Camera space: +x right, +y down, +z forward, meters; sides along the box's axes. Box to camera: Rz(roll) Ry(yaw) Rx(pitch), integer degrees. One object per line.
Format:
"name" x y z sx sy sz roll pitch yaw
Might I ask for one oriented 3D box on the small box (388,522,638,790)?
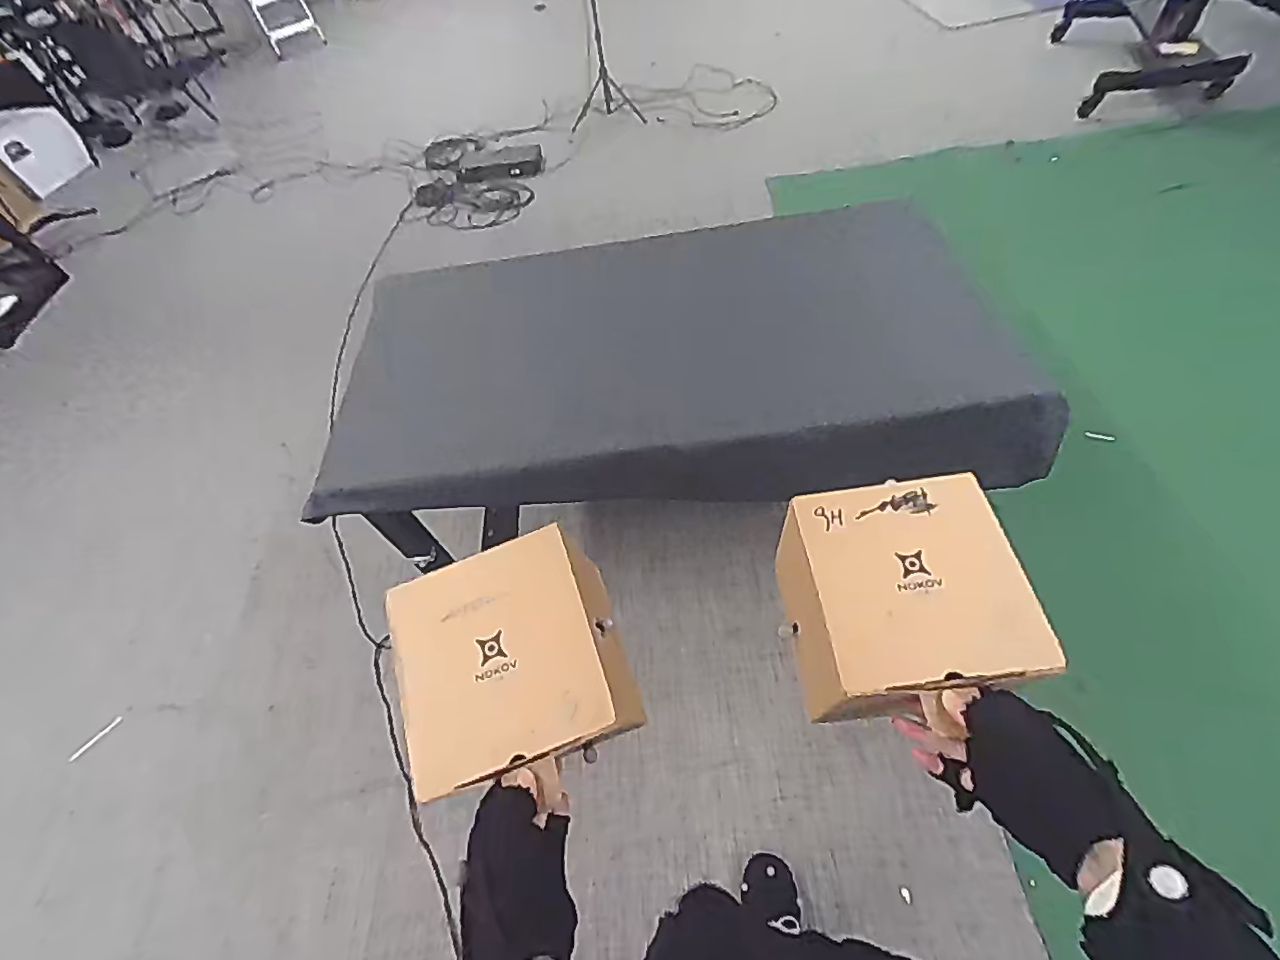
"small box" -0.112 0.169 0.527 0.168 0.176 0.179 -22 65 -1
